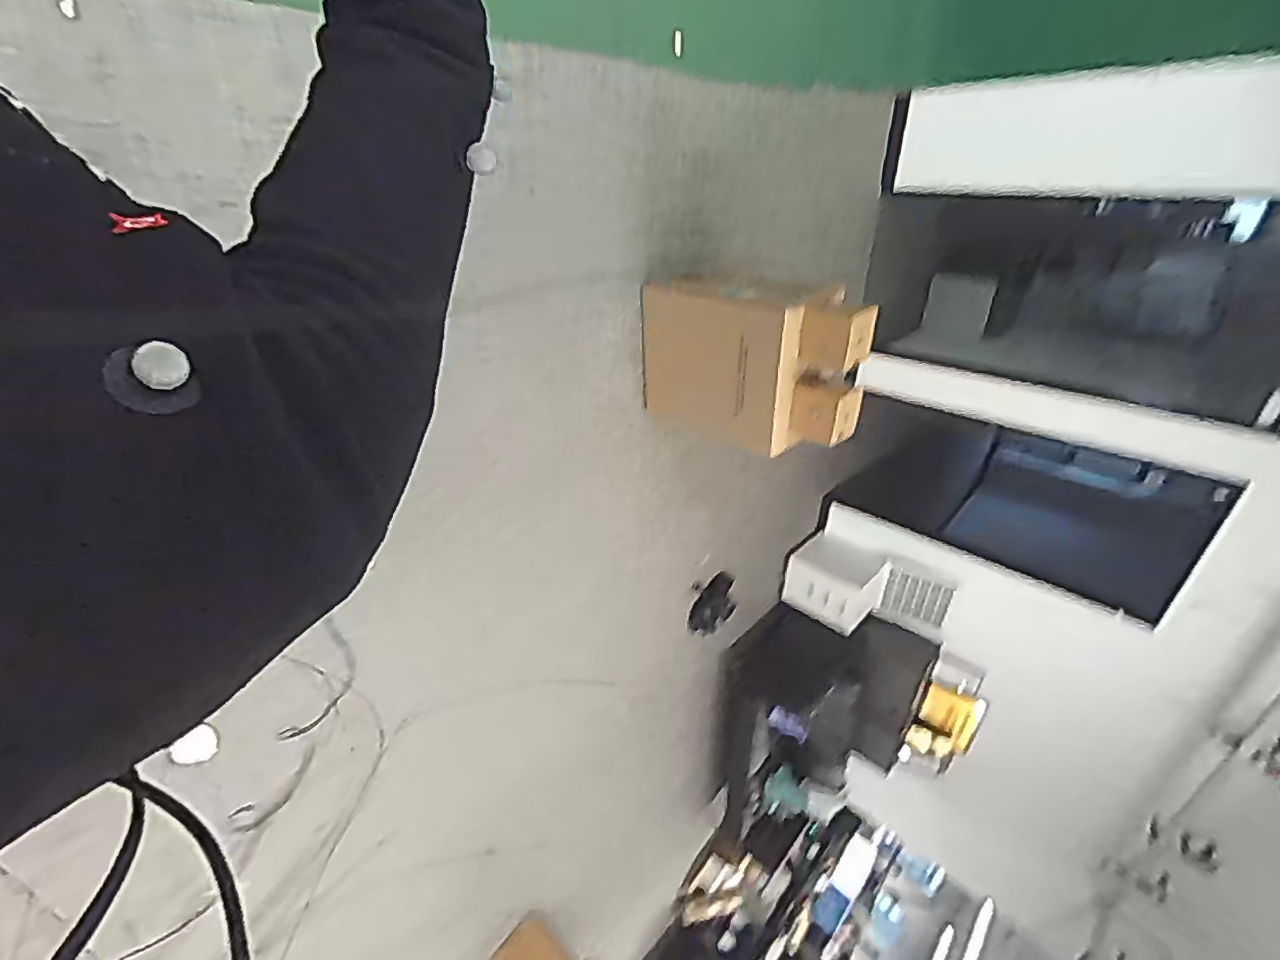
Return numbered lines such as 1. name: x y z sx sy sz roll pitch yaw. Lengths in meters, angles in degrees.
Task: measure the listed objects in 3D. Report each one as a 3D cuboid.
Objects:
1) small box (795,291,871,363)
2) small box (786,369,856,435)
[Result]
1. small box: 0.627 -0.507 1.776 0.168 0.176 0.179 -30 130 -34
2. small box: 0.637 -0.284 1.913 0.168 0.176 0.179 -26 128 -35
